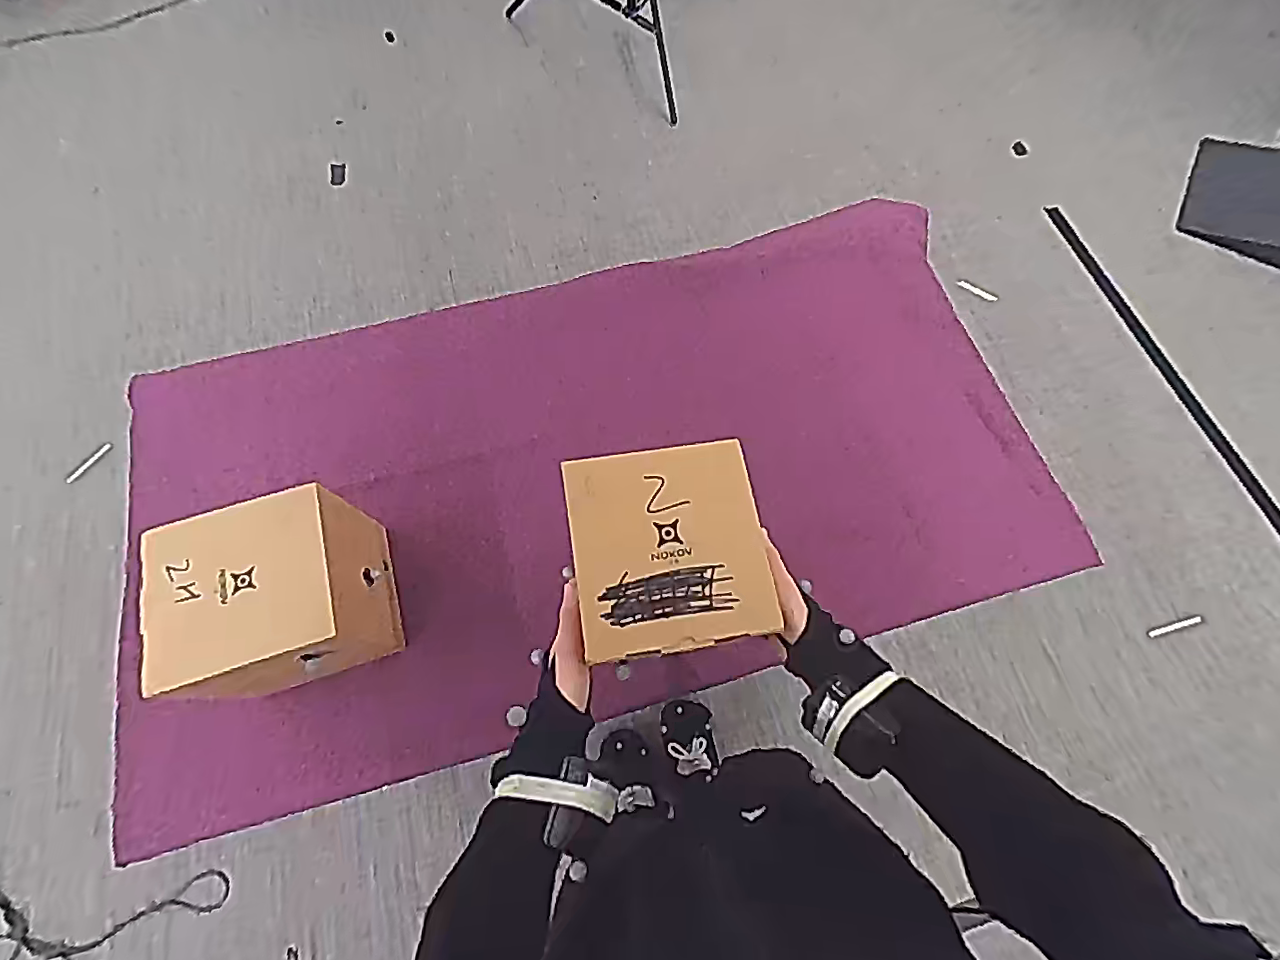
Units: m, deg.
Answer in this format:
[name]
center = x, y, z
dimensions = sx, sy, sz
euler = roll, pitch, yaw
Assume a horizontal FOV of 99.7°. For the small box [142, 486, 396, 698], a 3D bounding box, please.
[small box]
center = -0.390, 0.129, 0.598
dimensions = 0.179, 0.176, 0.168
euler = -17, 69, -7
